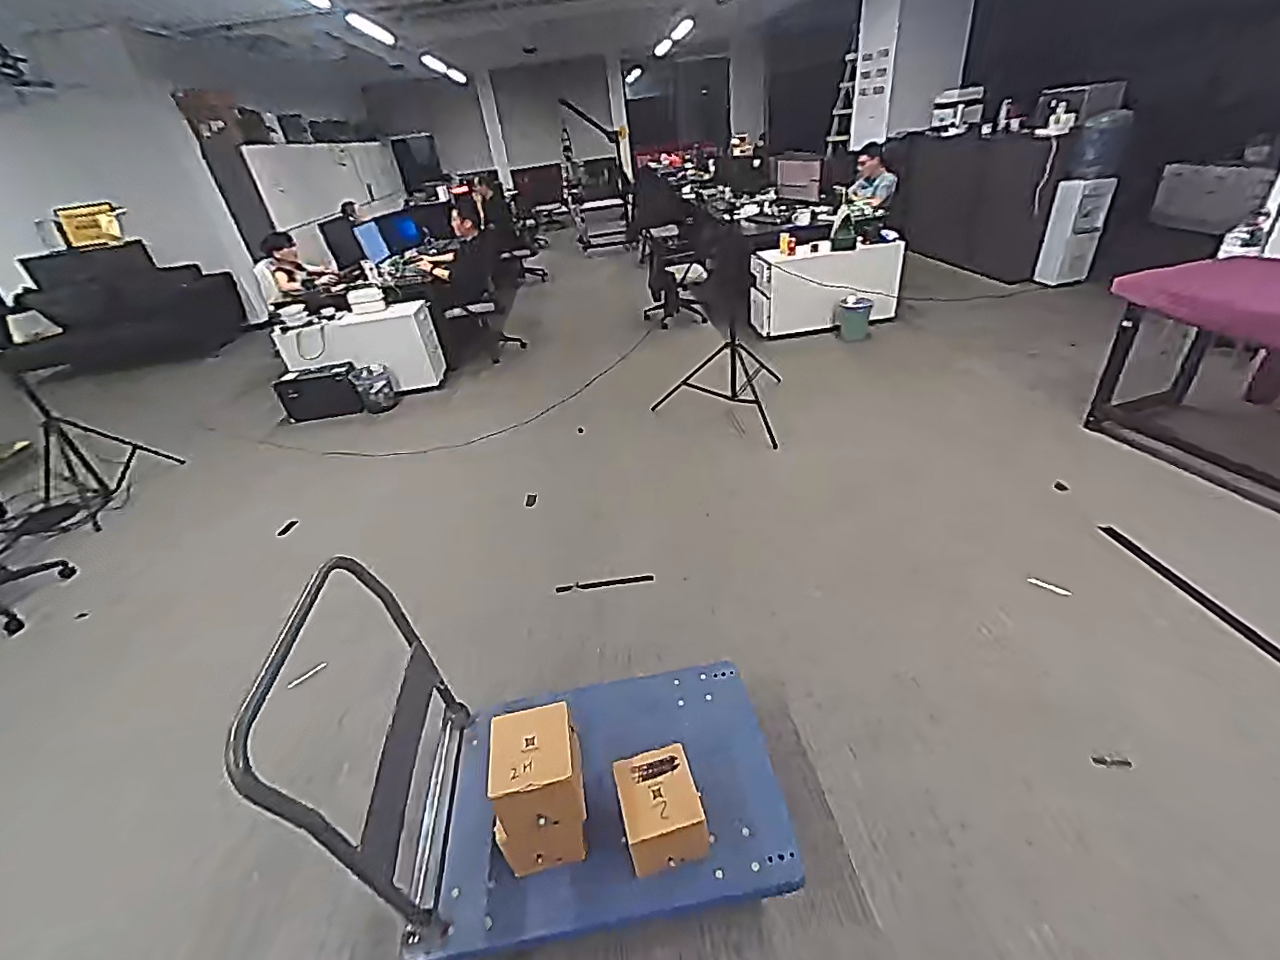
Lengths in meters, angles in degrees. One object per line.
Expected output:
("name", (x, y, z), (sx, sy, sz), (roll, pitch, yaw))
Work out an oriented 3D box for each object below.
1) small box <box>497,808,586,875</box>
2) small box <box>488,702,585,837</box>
("small box", (-0.222, 0.750, 1.231), (0.168, 0.176, 0.179), (-11, 34, -6))
("small box", (-0.214, 0.609, 1.143), (0.168, 0.176, 0.179), (-11, 34, -5))
